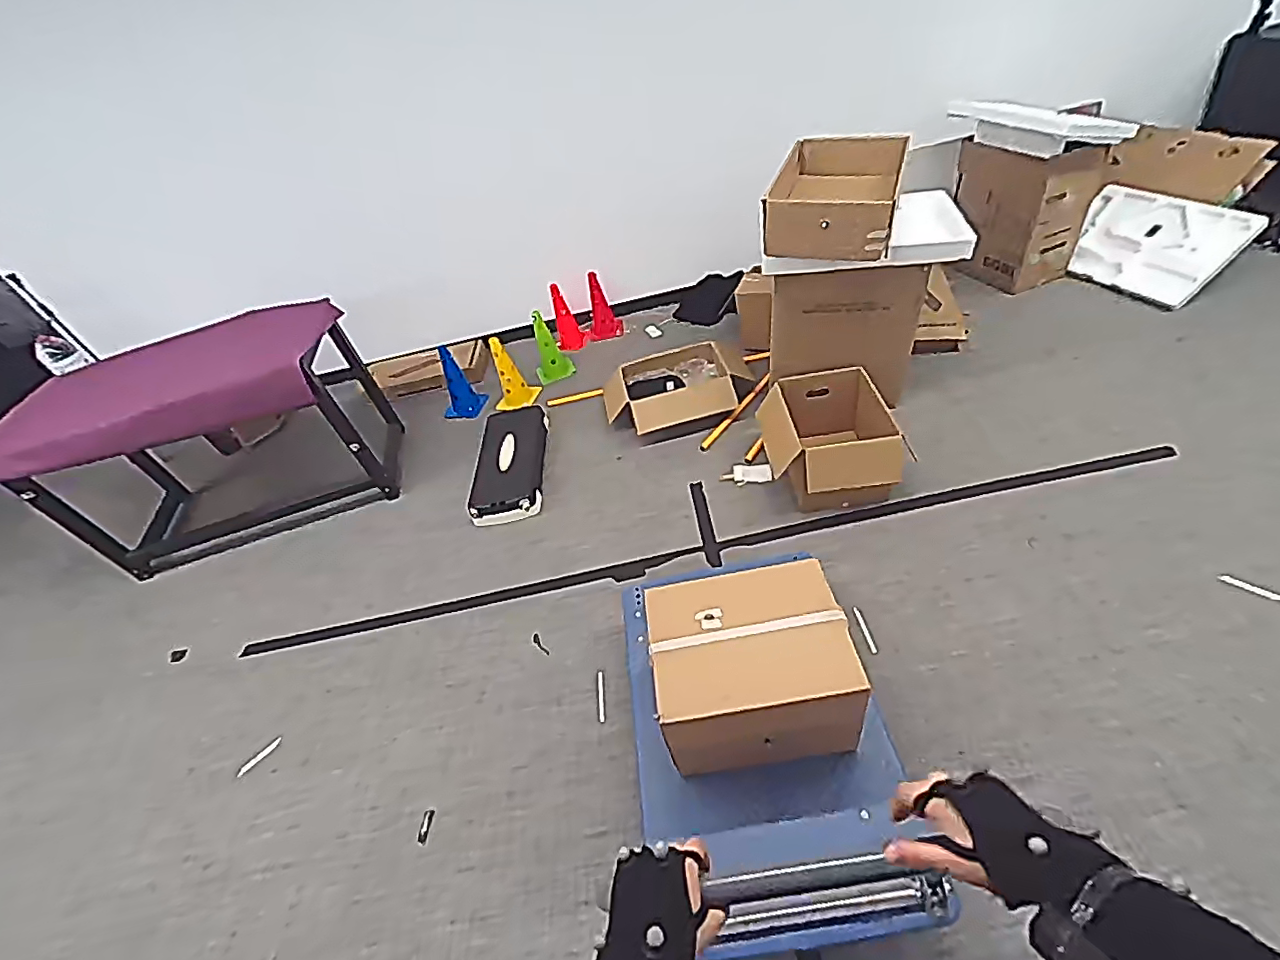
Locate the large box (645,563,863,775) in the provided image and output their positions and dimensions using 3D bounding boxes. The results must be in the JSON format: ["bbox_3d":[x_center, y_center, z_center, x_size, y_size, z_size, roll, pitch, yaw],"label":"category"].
[{"bbox_3d":[0.250,0.439,1.248,0.408,0.320,0.320,-12,42,4],"label":"large box"}]
